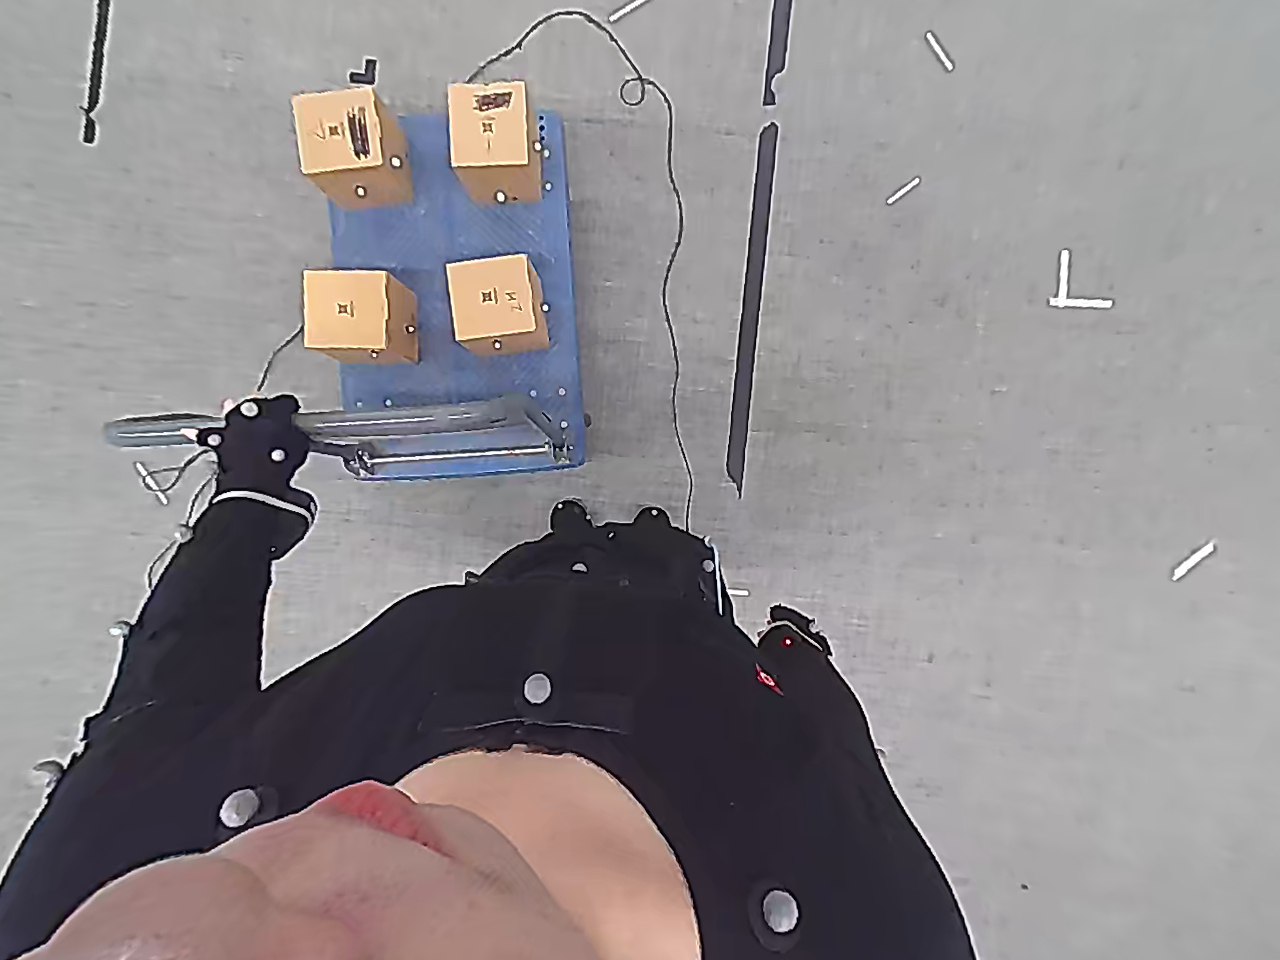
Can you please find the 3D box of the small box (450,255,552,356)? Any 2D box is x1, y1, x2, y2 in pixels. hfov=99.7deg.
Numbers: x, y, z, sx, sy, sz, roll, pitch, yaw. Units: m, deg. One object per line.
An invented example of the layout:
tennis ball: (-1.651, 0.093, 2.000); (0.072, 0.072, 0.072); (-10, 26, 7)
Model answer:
small box: (-0.308, -0.387, 1.224); (0.179, 0.176, 0.168); (-7, 91, 0)

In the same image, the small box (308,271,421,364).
small box: (-0.616, -0.361, 1.224); (0.179, 0.176, 0.168); (-1, 91, -2)

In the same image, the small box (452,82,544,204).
small box: (-0.313, -0.751, 1.218); (0.168, 0.176, 0.179); (-2, 92, 0)
